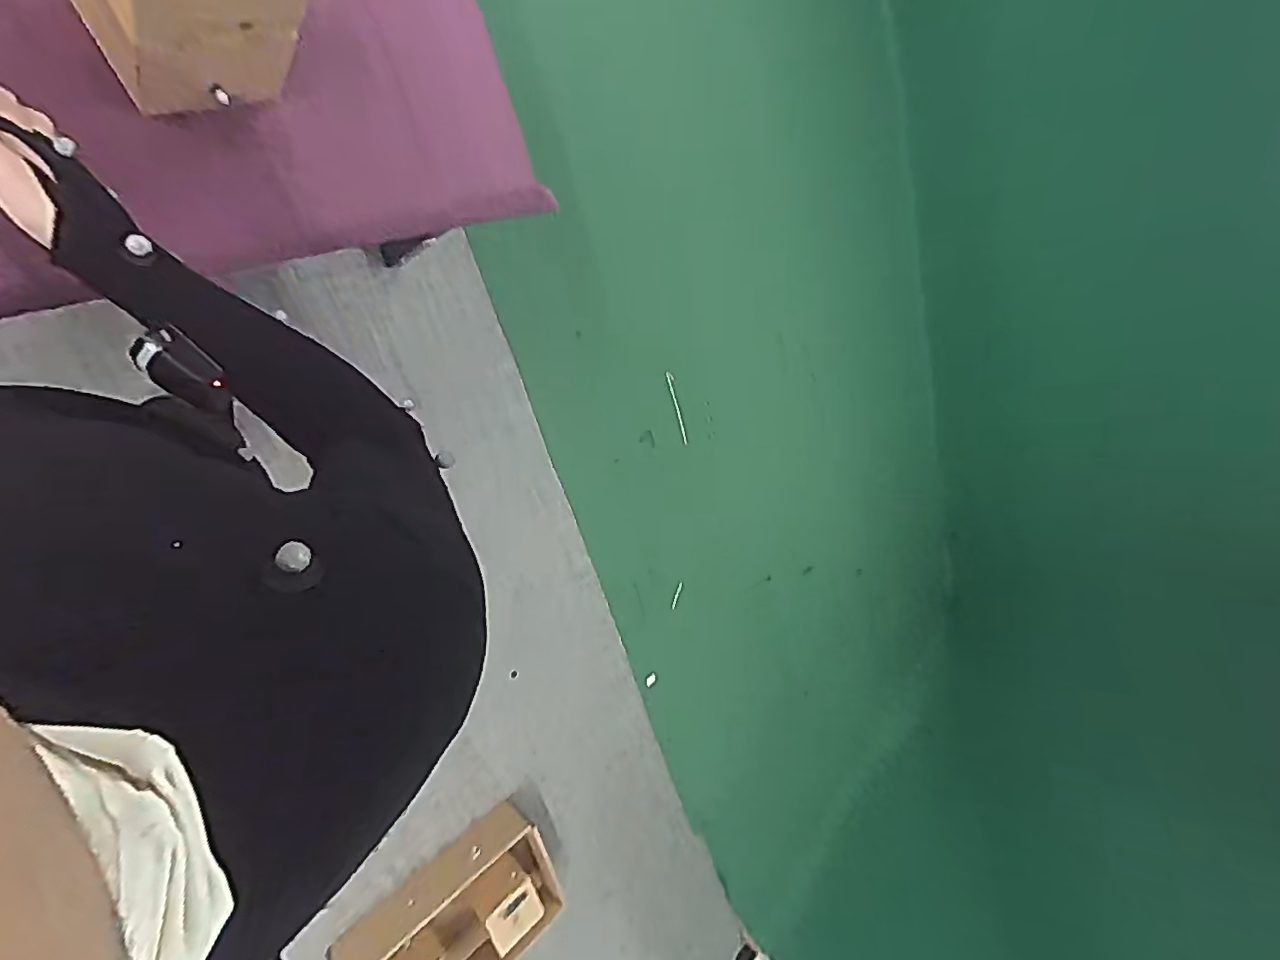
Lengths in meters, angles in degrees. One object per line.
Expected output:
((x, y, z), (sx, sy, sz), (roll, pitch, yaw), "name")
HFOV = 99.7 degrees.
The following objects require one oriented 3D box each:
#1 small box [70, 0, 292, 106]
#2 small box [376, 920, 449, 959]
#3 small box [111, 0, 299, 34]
((-0.538, -0.563, 0.609), (0.168, 0.176, 0.179), (-37, 117, -33), "small box")
((-0.656, 1.470, 1.599), (0.168, 0.176, 0.179), (-29, 112, -38), "small box")
((-0.429, -0.552, 0.486), (0.168, 0.176, 0.179), (-38, 116, -32), "small box")
